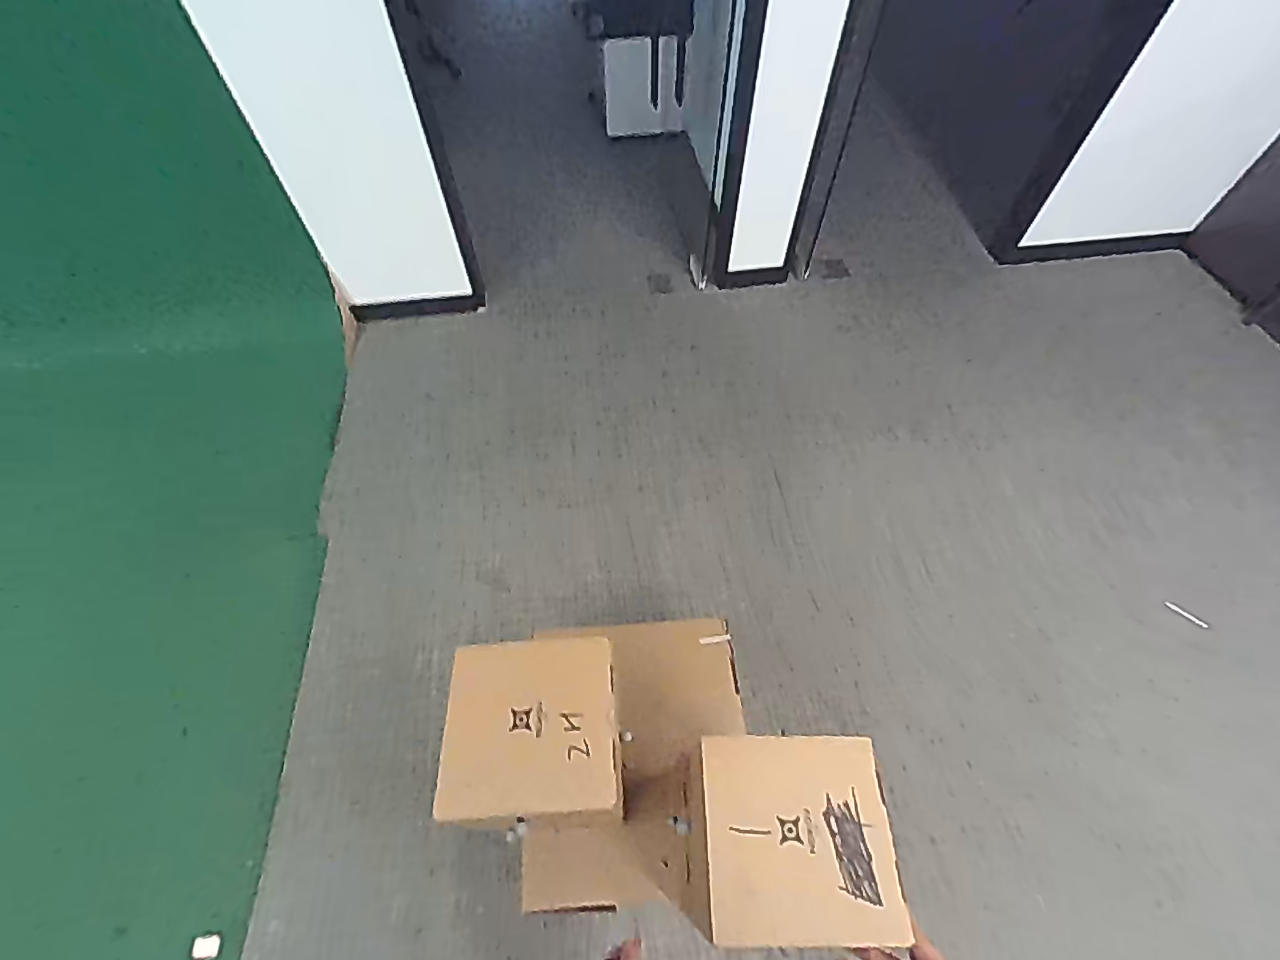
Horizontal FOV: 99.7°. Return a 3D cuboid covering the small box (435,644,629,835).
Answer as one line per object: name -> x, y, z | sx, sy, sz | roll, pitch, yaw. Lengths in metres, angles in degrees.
small box -> -0.107, 0.299, 0.614 | 0.179, 0.176, 0.168 | -4, 55, -1

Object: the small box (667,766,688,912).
small box -> 0.130, 0.551, 0.837 | 0.168, 0.176, 0.179 | 0, 54, -2

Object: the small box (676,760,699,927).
small box -> 0.143, 0.465, 0.700 | 0.179, 0.176, 0.168 | 0, 55, -1

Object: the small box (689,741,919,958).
small box -> 0.148, 0.375, 0.562 | 0.179, 0.176, 0.168 | 0, 55, 0

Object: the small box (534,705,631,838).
small box -> -0.102, 0.479, 0.892 | 0.168, 0.176, 0.179 | -2, 54, 0
